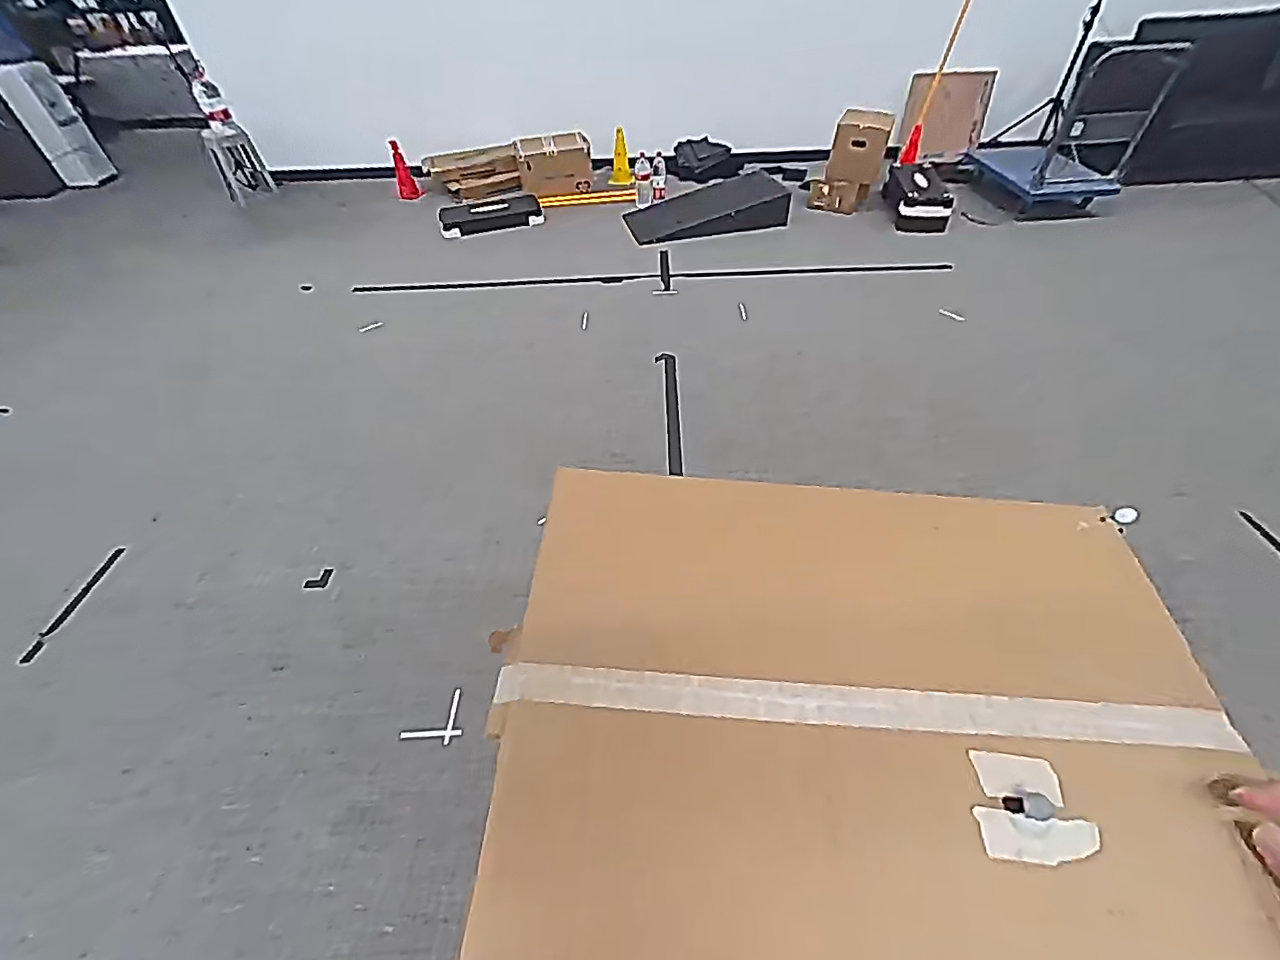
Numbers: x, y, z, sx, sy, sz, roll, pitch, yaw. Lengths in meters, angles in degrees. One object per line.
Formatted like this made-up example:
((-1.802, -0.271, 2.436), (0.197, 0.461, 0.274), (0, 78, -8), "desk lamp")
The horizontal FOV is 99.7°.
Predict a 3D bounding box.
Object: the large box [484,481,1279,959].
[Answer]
((0.123, 0.225, 0.430), (0.408, 0.320, 0.320), (5, 53, -1), "large box")
